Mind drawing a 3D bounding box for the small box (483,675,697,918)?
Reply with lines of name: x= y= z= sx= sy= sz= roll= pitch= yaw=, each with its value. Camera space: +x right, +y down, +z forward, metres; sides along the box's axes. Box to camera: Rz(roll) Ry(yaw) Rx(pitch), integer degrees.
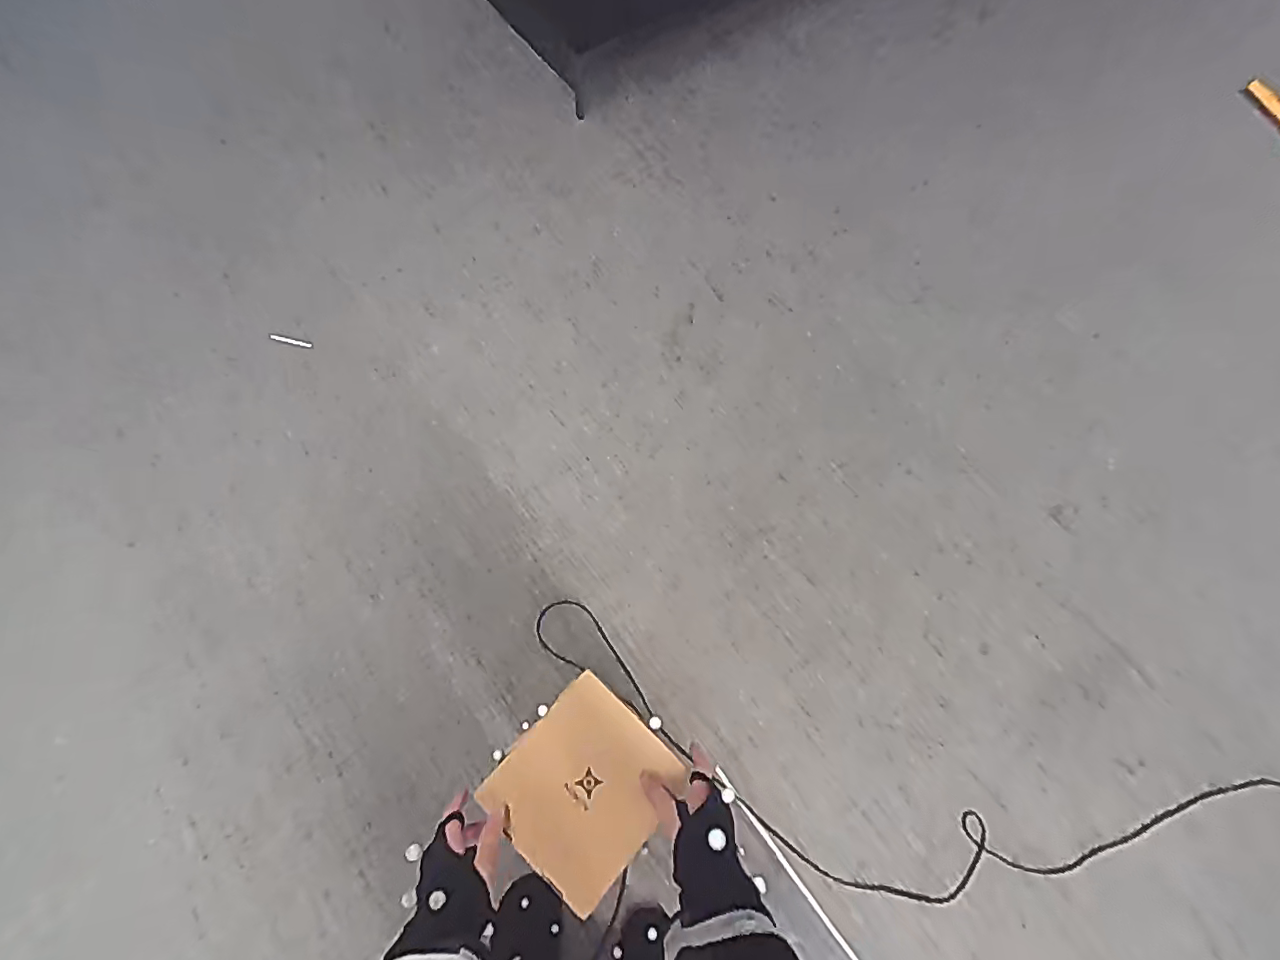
small box: x=-0.057 y=0.358 z=0.658 sx=0.168 sy=0.176 sz=0.179 roll=41 pitch=75 yaw=12
